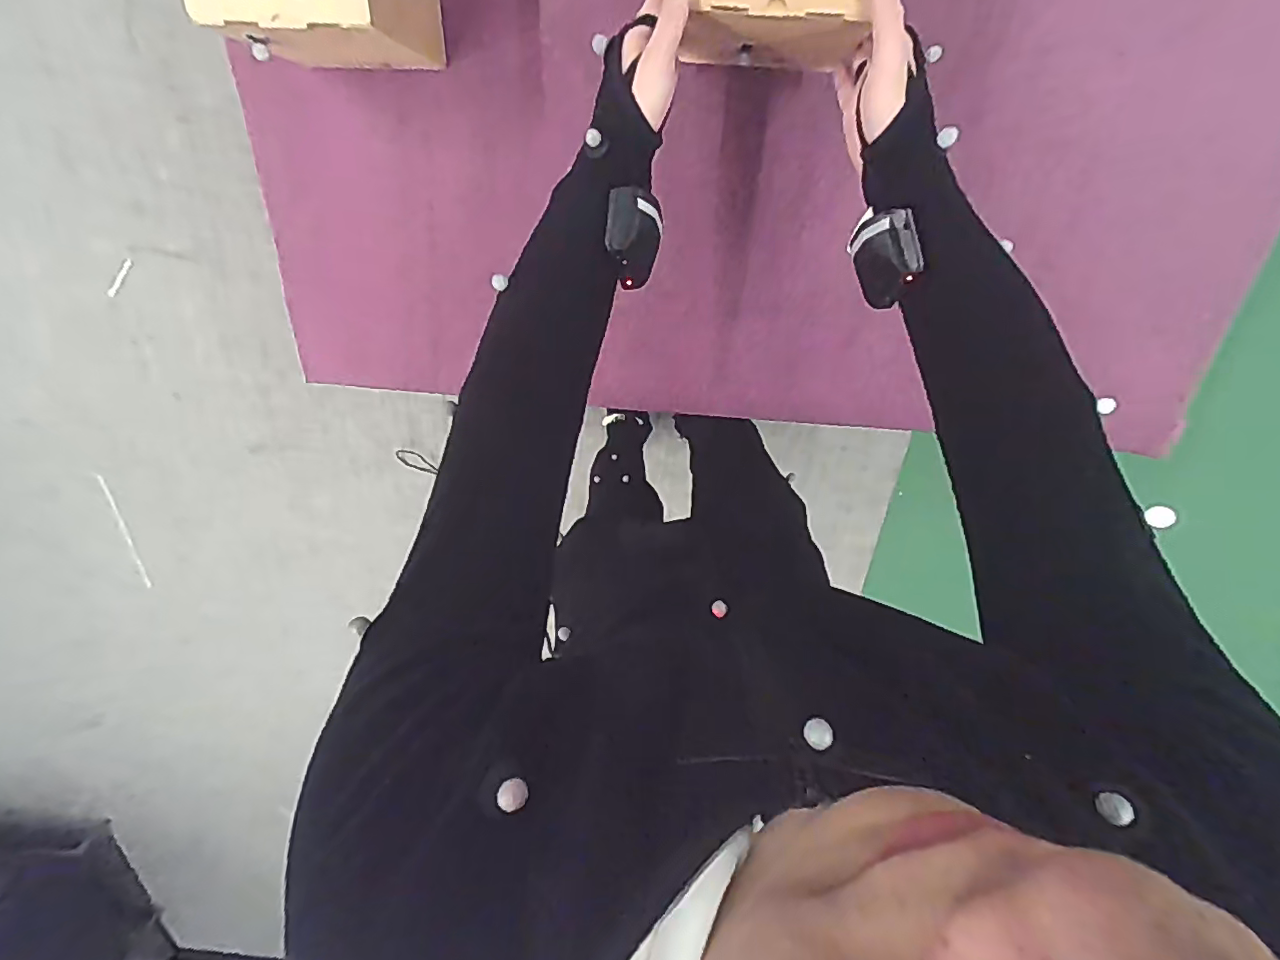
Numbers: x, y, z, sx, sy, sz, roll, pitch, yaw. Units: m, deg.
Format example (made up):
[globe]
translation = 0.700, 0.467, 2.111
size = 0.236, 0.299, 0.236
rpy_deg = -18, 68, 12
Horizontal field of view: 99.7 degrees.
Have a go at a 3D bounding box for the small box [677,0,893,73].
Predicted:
[small box]
translation = 0.121, -0.469, 0.448
size = 0.168, 0.176, 0.179
rpy_deg = 6, 118, 1
